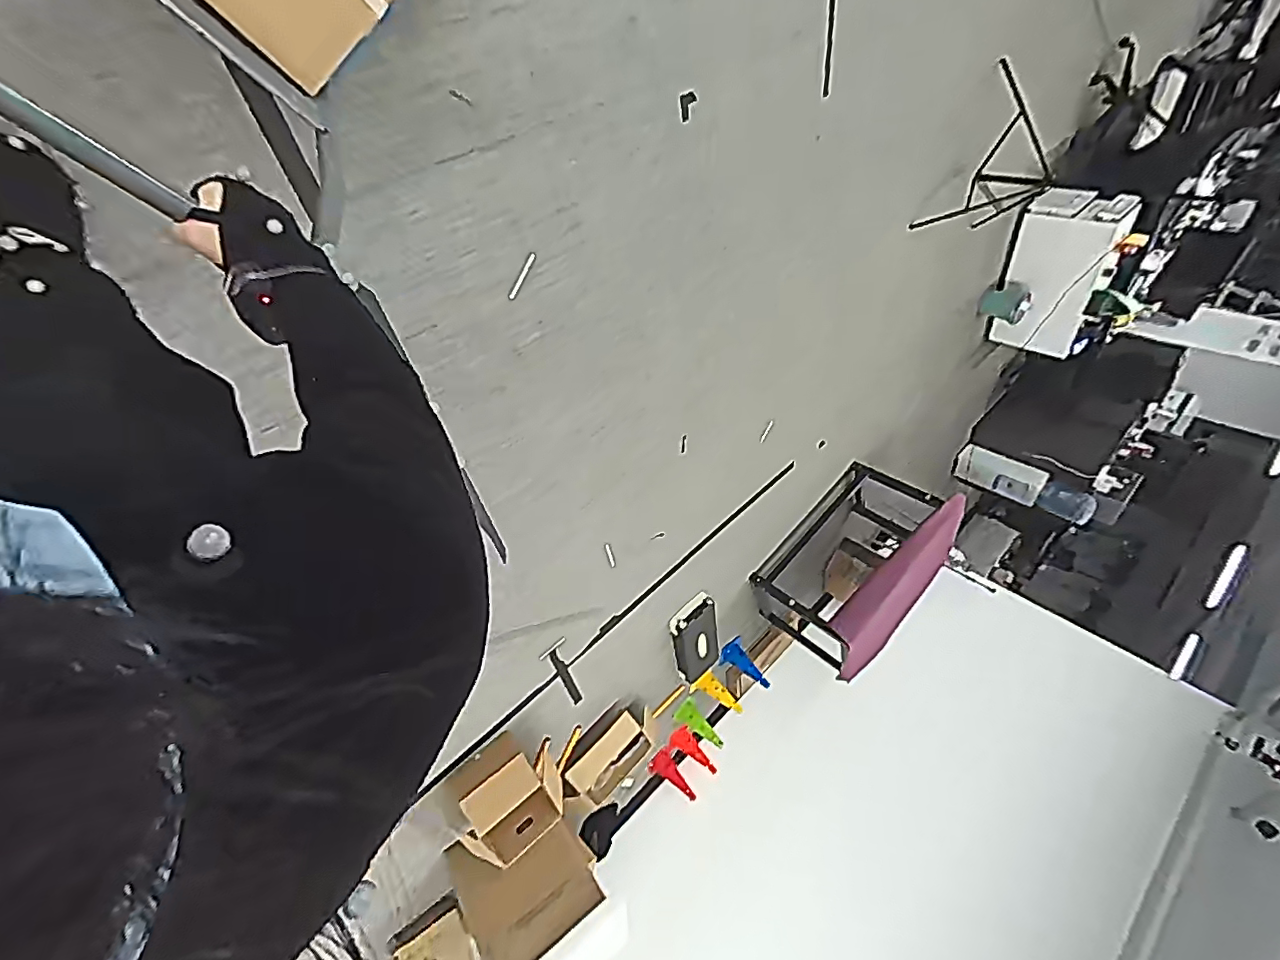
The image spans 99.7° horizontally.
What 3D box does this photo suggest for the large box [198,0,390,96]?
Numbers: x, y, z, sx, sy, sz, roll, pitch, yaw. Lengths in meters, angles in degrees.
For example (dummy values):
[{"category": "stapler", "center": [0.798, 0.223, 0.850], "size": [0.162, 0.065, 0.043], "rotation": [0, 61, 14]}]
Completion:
[{"category": "large box", "center": [-0.515, -0.803, 0.655], "size": [0.320, 0.320, 0.408], "rotation": [-38, 146, 14]}]
